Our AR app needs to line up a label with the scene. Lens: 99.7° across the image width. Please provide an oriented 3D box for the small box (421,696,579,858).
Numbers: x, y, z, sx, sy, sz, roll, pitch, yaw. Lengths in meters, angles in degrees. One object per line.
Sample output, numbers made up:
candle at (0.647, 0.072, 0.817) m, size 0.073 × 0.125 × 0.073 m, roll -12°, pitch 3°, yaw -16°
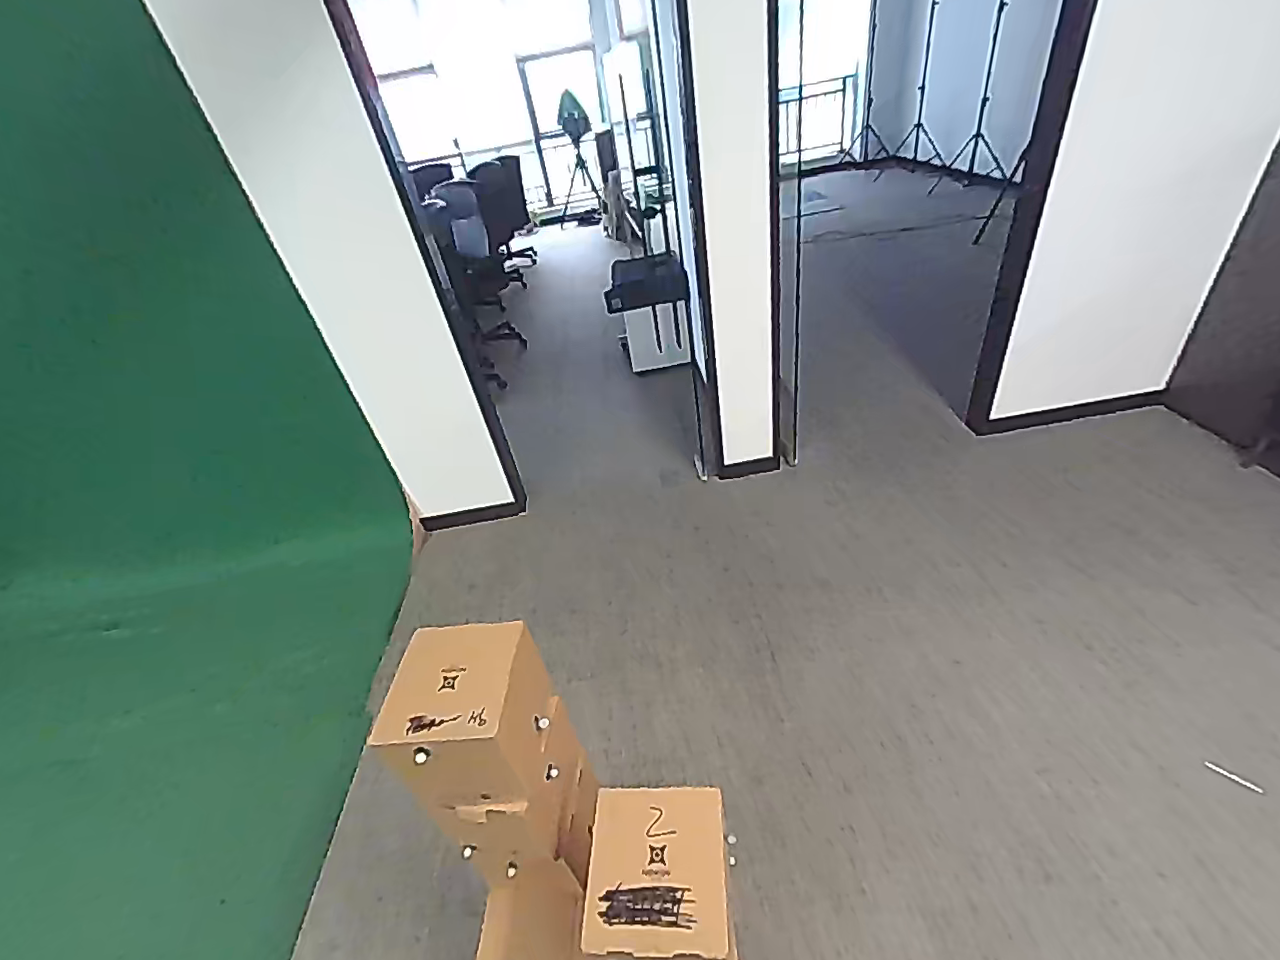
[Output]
small box at (-0.205, 0.463, 0.853) m, size 0.168 × 0.176 × 0.179 m, roll -2°, pitch 35°, yaw 12°

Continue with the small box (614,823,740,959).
small box at (0.057, 0.650, 0.809) m, size 0.168 × 0.176 × 0.179 m, roll -8°, pitch 36°, yaw 4°

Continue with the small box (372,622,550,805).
small box at (-0.234, 0.328, 0.763) m, size 0.168 × 0.176 × 0.179 m, roll -7°, pitch 35°, yaw 7°

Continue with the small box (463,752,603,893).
small box at (-0.175, 0.595, 0.947) m, size 0.179 × 0.176 × 0.168 m, roll -2°, pitch 37°, yaw 10°
